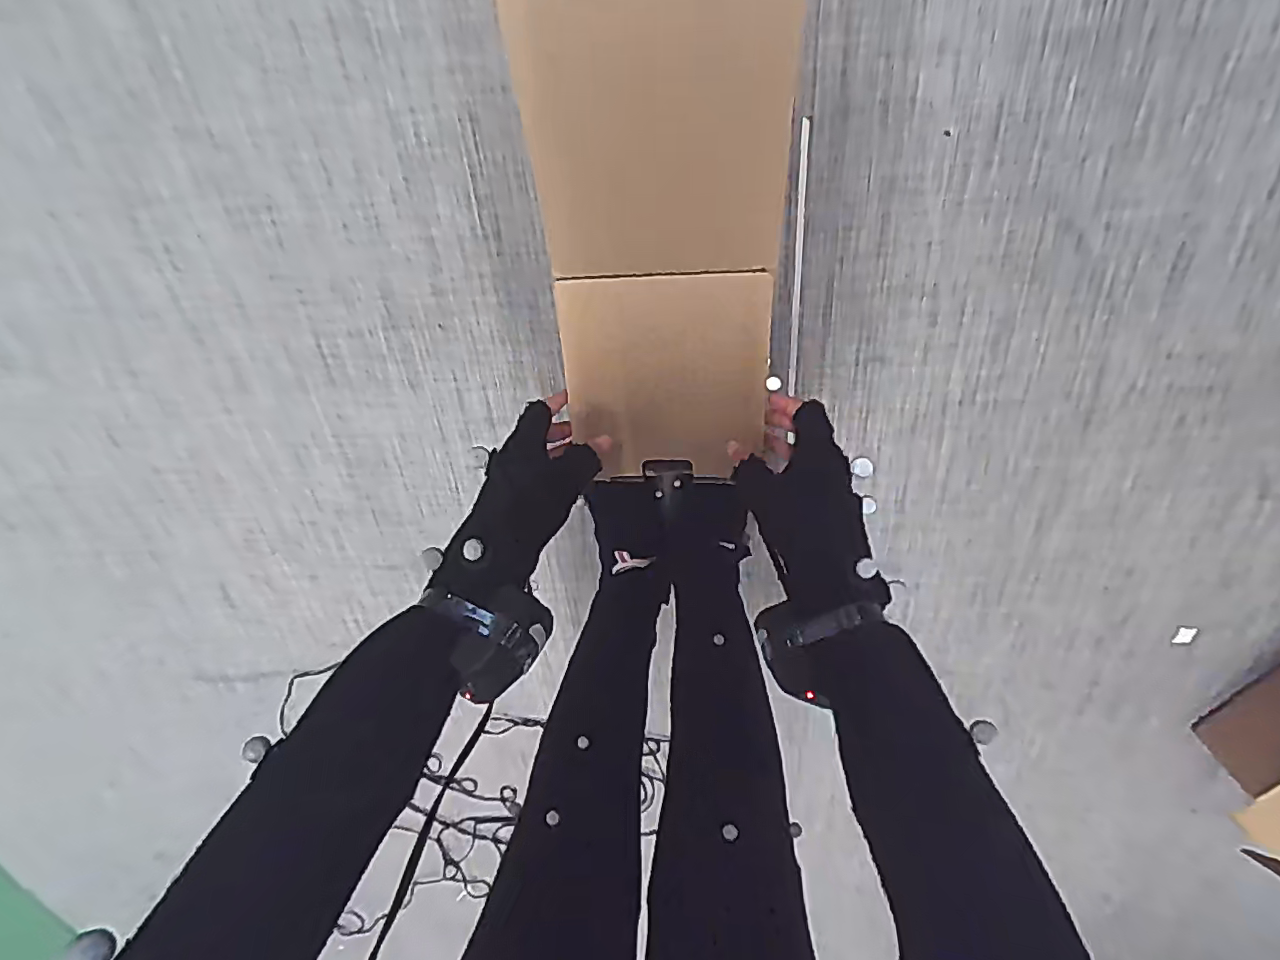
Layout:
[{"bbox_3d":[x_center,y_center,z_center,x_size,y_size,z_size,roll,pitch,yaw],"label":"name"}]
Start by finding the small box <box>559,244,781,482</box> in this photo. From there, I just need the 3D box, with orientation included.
[{"bbox_3d":[0.033,-0.114,0.501,0.168,0.176,0.179,1,118,7],"label":"small box"}]
